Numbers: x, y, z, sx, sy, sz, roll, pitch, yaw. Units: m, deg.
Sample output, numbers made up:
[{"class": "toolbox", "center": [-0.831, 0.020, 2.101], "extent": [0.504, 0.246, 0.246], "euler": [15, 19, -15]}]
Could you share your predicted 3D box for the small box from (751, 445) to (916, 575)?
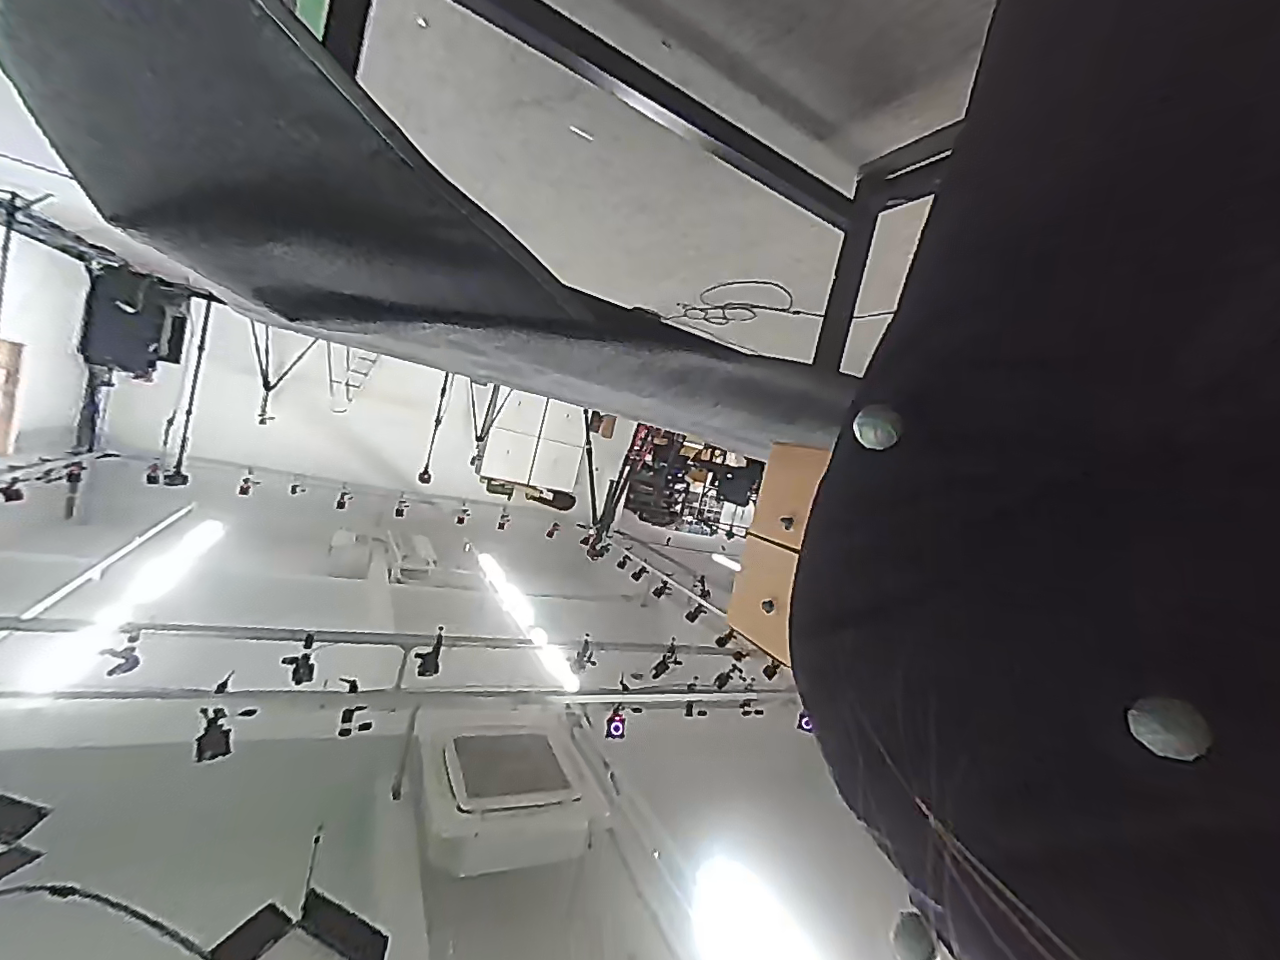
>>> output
[{"class": "small box", "center": [0.317, 0.042, 0.894], "extent": [0.168, 0.176, 0.179], "euler": [13, -178, -25]}]

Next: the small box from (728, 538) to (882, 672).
[{"class": "small box", "center": [0.275, 0.200, 0.896], "extent": [0.168, 0.176, 0.179], "euler": [13, -179, -24]}]
